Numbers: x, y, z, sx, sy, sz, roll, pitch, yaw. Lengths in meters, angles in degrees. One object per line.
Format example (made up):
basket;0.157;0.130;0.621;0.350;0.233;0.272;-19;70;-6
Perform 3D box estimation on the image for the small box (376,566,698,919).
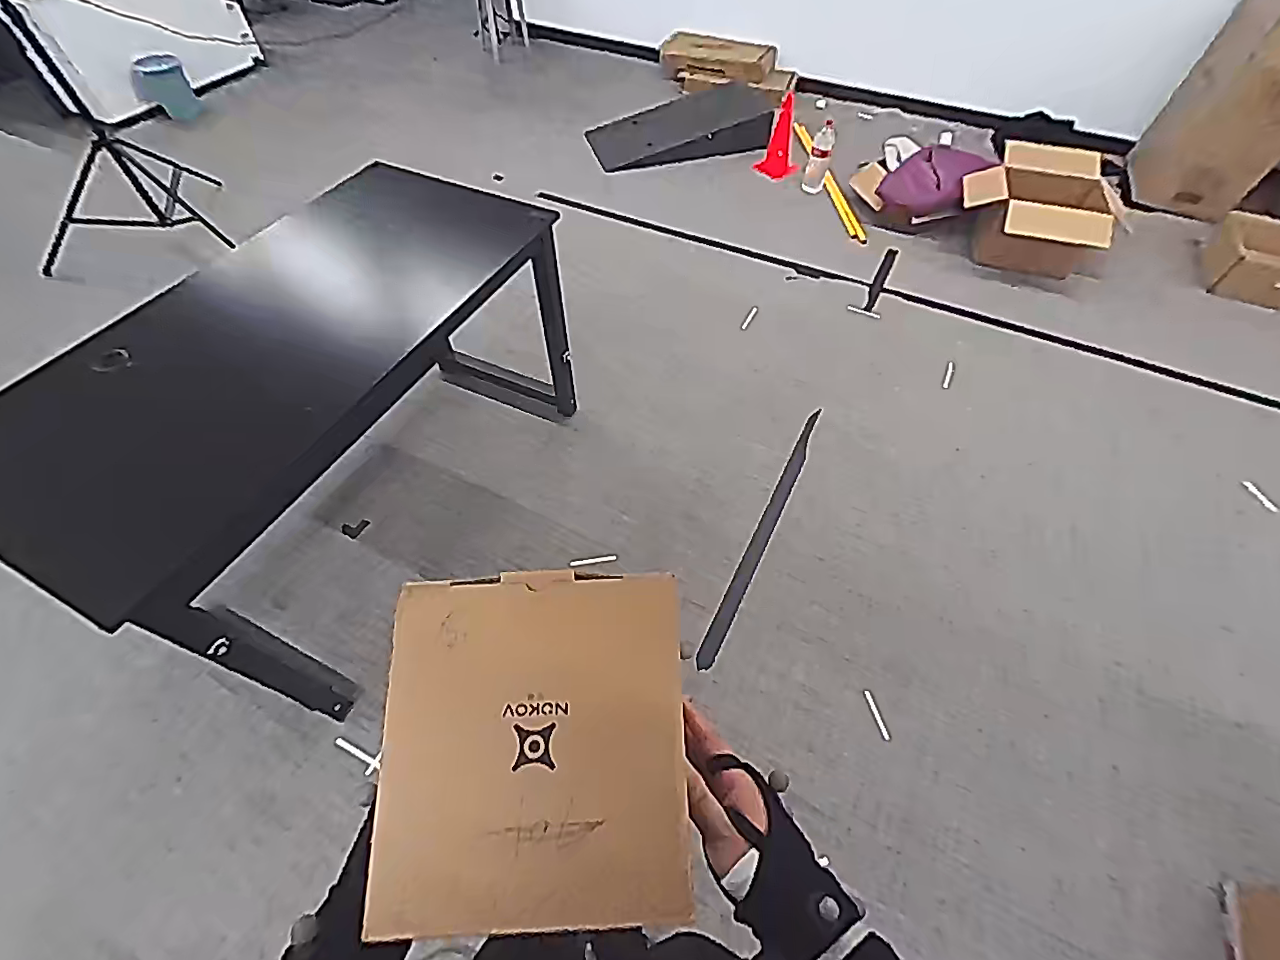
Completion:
small box;-0.055;0.163;0.375;0.168;0.176;0.179;-2;71;-1
